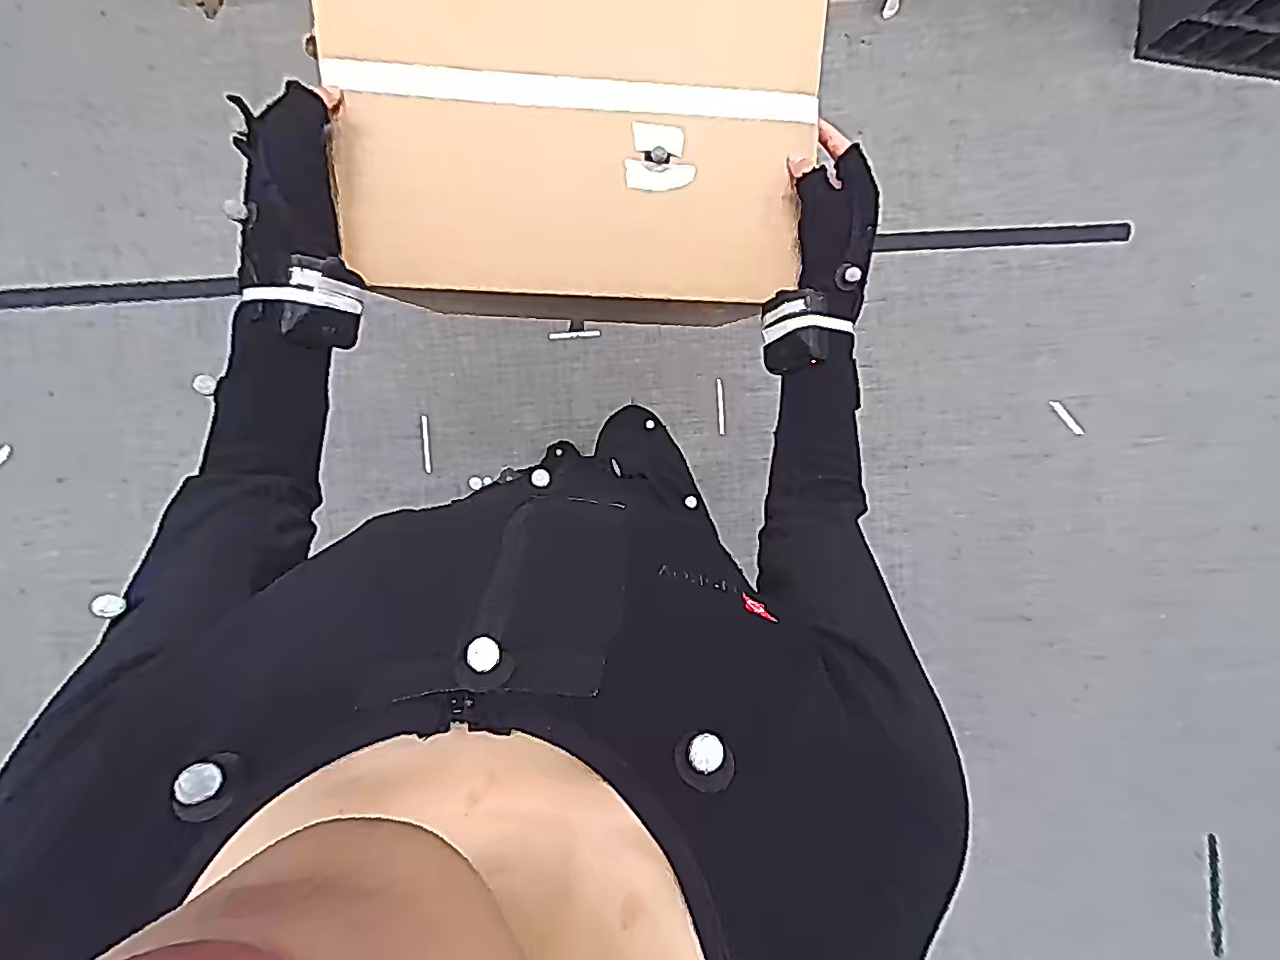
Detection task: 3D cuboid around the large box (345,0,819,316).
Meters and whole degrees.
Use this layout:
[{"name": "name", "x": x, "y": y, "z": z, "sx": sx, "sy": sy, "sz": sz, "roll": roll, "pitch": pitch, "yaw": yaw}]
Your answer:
[{"name": "large box", "x": -0.059, "y": -0.361, "z": 0.612, "sx": 0.408, "sy": 0.320, "sz": 0.320, "roll": 1, "pitch": 103, "yaw": -6}]
